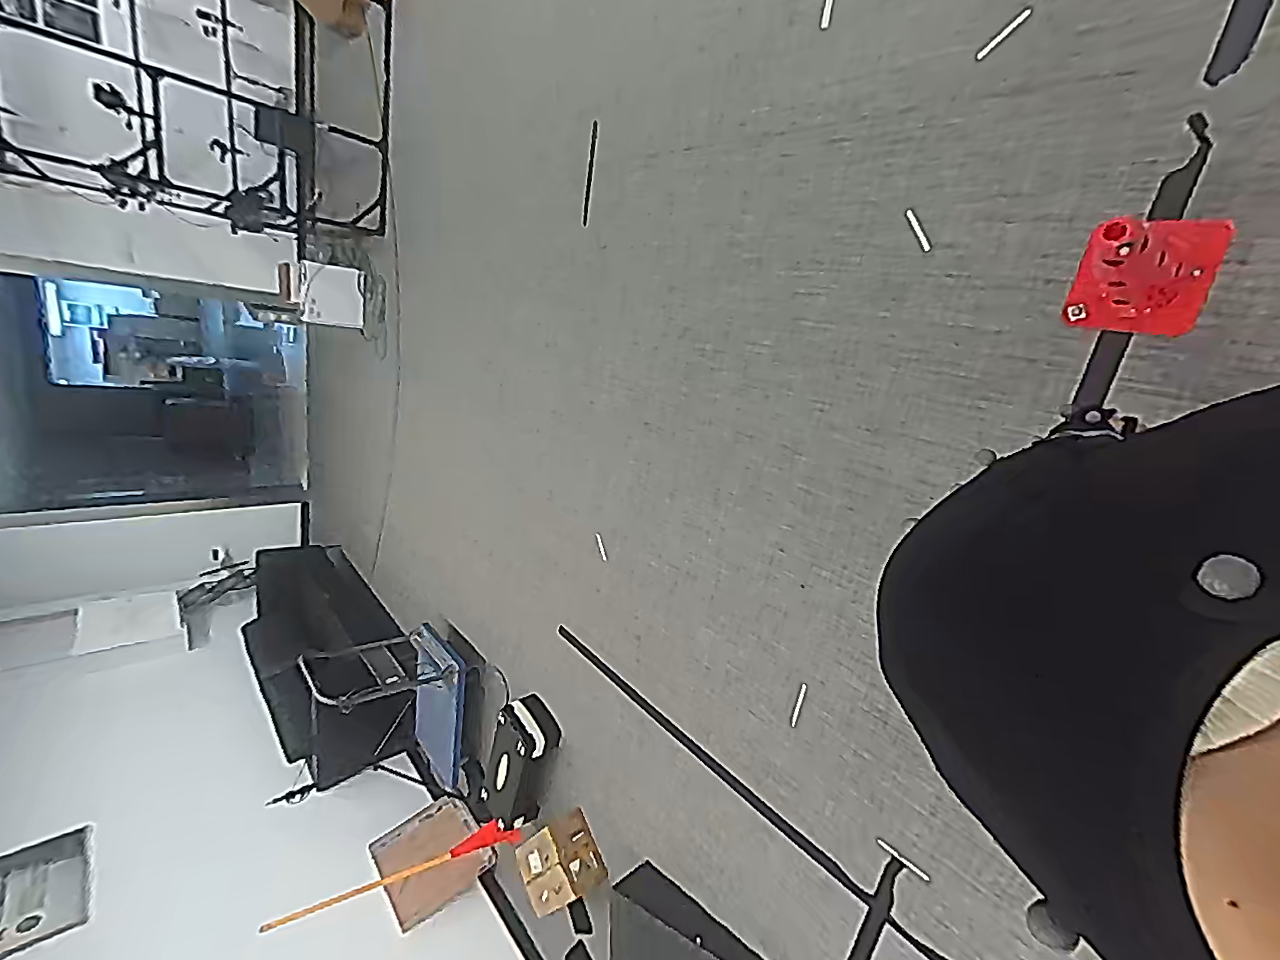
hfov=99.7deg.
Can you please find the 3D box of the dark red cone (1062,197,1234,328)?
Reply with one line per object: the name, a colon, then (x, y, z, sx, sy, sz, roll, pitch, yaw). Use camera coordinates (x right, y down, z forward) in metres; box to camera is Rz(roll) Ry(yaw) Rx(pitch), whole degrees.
dark red cone: (0.808, -0.381, 0.885, 0.201, 0.394, 0.202, 24, 111, 42)
